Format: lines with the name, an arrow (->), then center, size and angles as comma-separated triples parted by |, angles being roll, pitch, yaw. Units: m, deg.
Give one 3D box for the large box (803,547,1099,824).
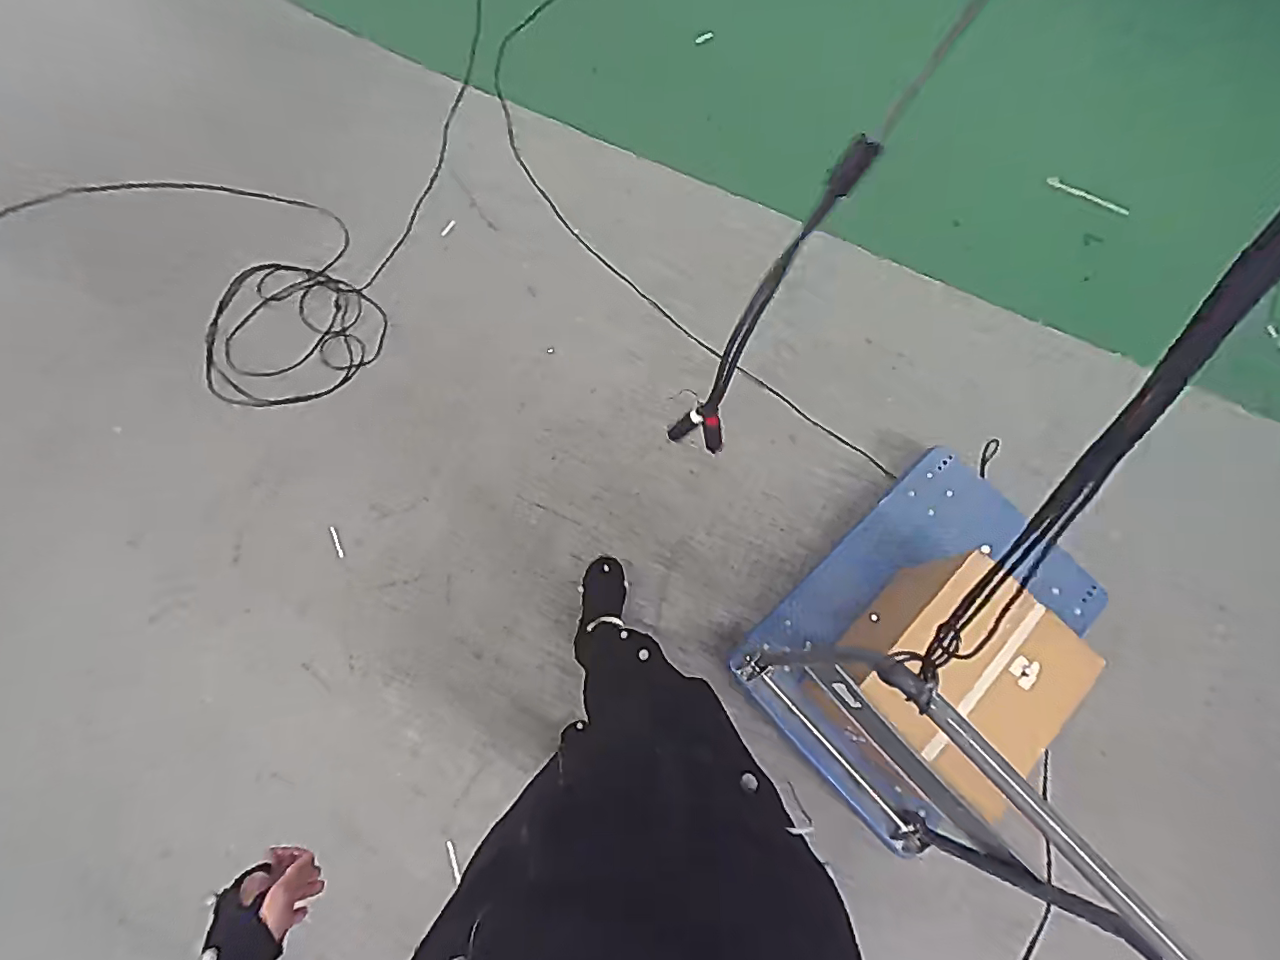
large box -> 0.629, 0.415, 1.155 | 0.408, 0.320, 0.320 | -41, 79, -15
